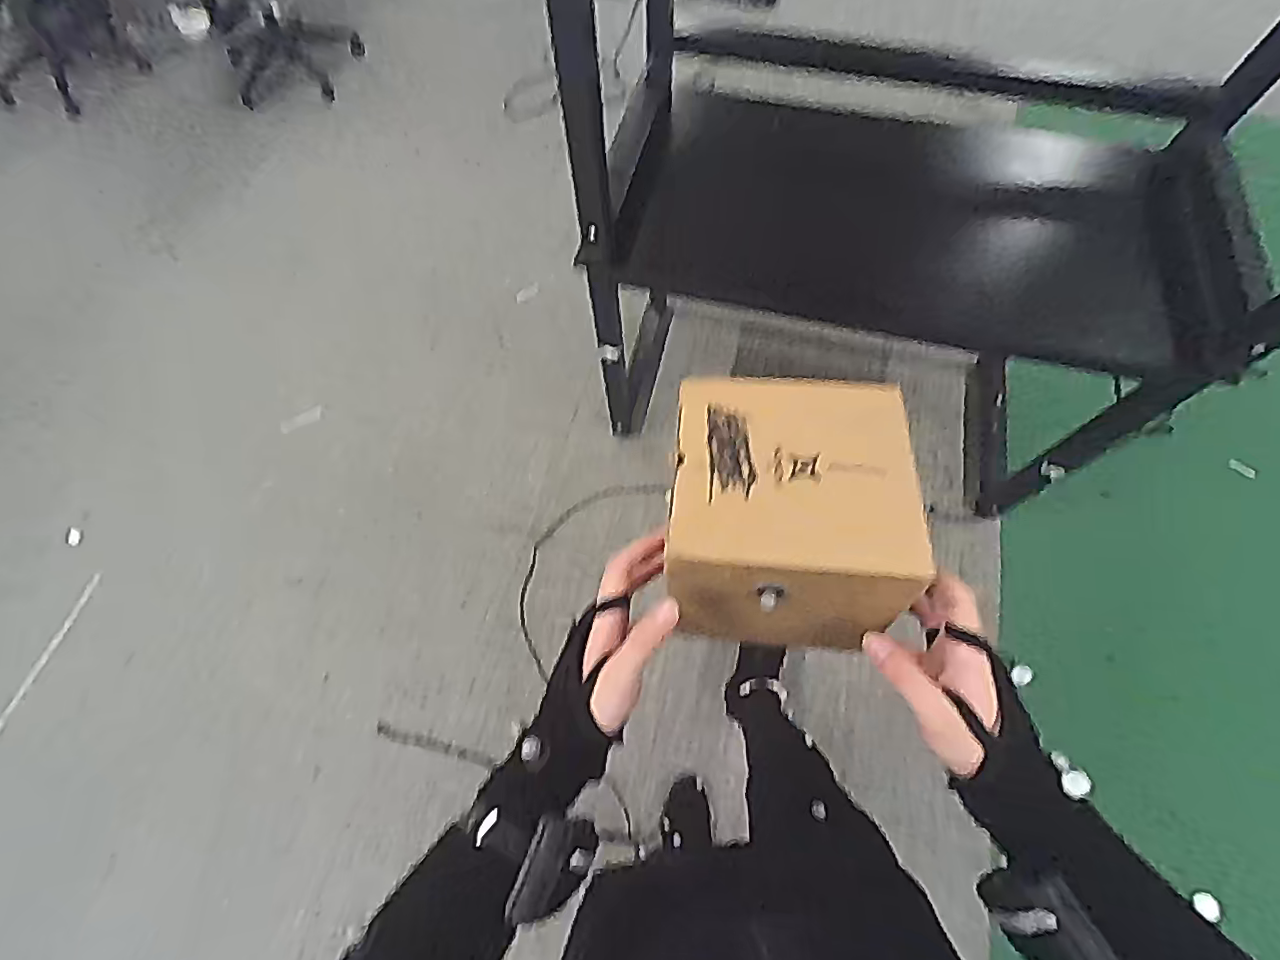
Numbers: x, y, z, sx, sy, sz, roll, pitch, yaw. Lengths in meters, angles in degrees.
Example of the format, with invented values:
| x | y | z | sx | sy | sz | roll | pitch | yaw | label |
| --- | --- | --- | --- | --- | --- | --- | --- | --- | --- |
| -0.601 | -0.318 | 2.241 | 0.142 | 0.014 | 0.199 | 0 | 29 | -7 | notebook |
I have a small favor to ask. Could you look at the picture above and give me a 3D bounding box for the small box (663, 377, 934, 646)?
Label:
| x | y | z | sx | sy | sz | roll | pitch | yaw | label |
| --- | --- | --- | --- | --- | --- | --- | --- | --- | --- |
| 0.117 | 0.032 | 0.461 | 0.179 | 0.176 | 0.168 | 4 | 57 | 7 | small box |
